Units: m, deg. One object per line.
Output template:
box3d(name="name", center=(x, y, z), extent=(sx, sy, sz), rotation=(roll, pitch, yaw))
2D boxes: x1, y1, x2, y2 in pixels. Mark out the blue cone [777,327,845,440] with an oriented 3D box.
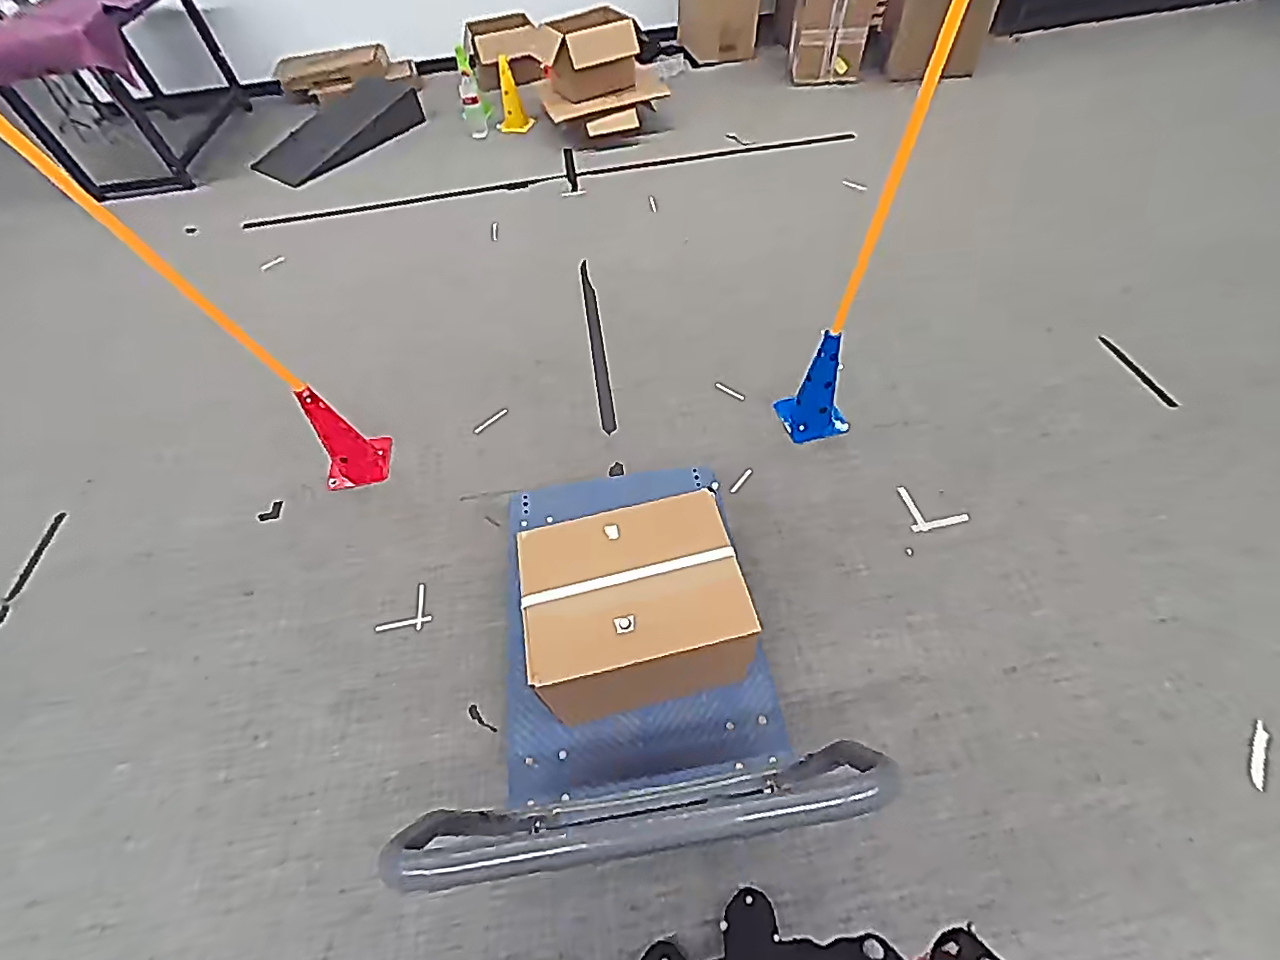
box3d(name="blue cone", center=(0.574, -0.315, 1.711), extent=(0.193, 0.380, 0.192), rotation=(-12, 53, -5))
